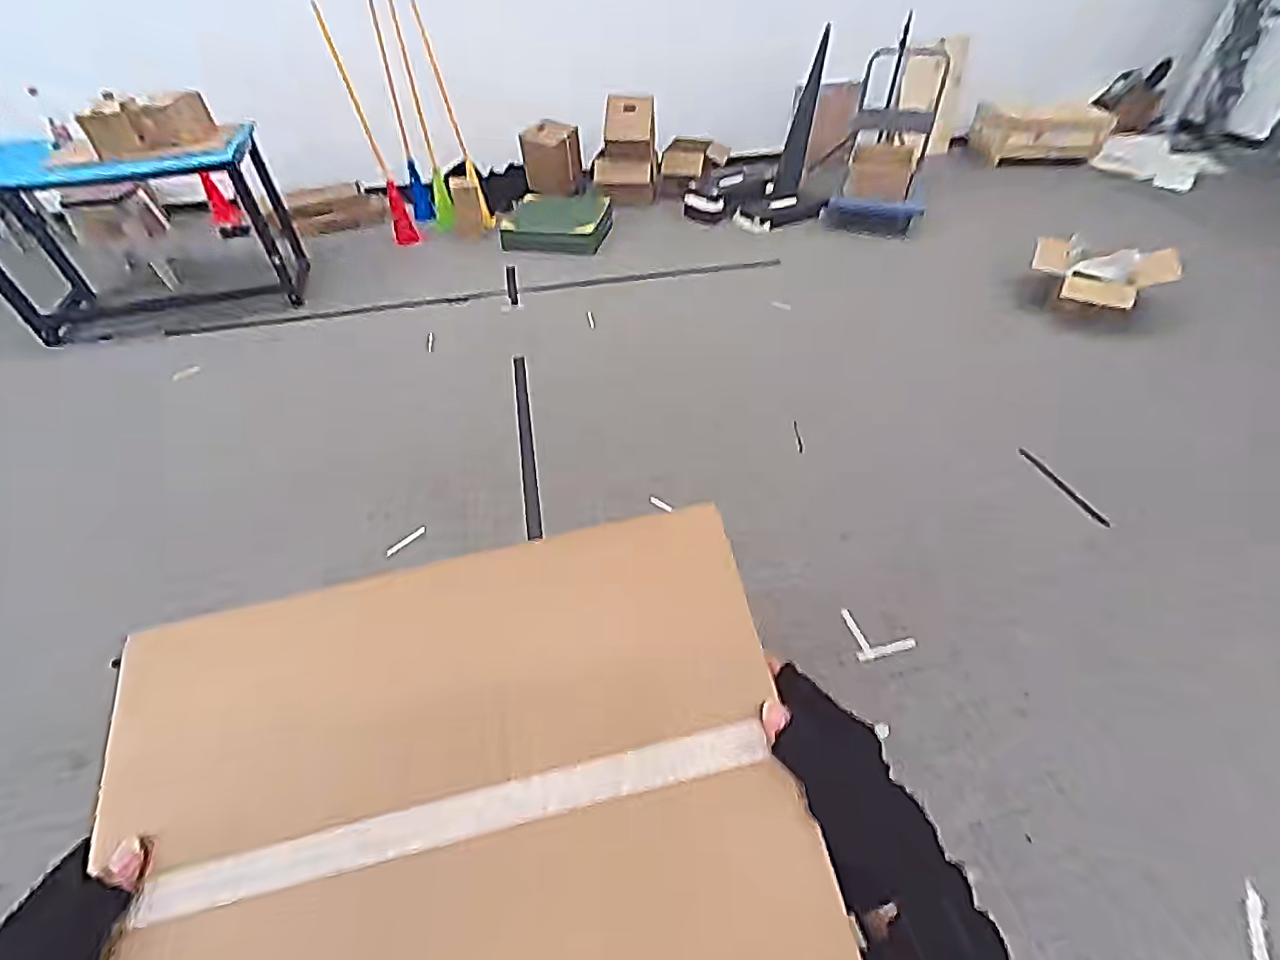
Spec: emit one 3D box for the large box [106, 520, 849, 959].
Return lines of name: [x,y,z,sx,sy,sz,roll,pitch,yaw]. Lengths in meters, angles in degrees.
large box: [-0.102,0.270,0.455,0.408,0.320,0.320,-13,66,-4]
